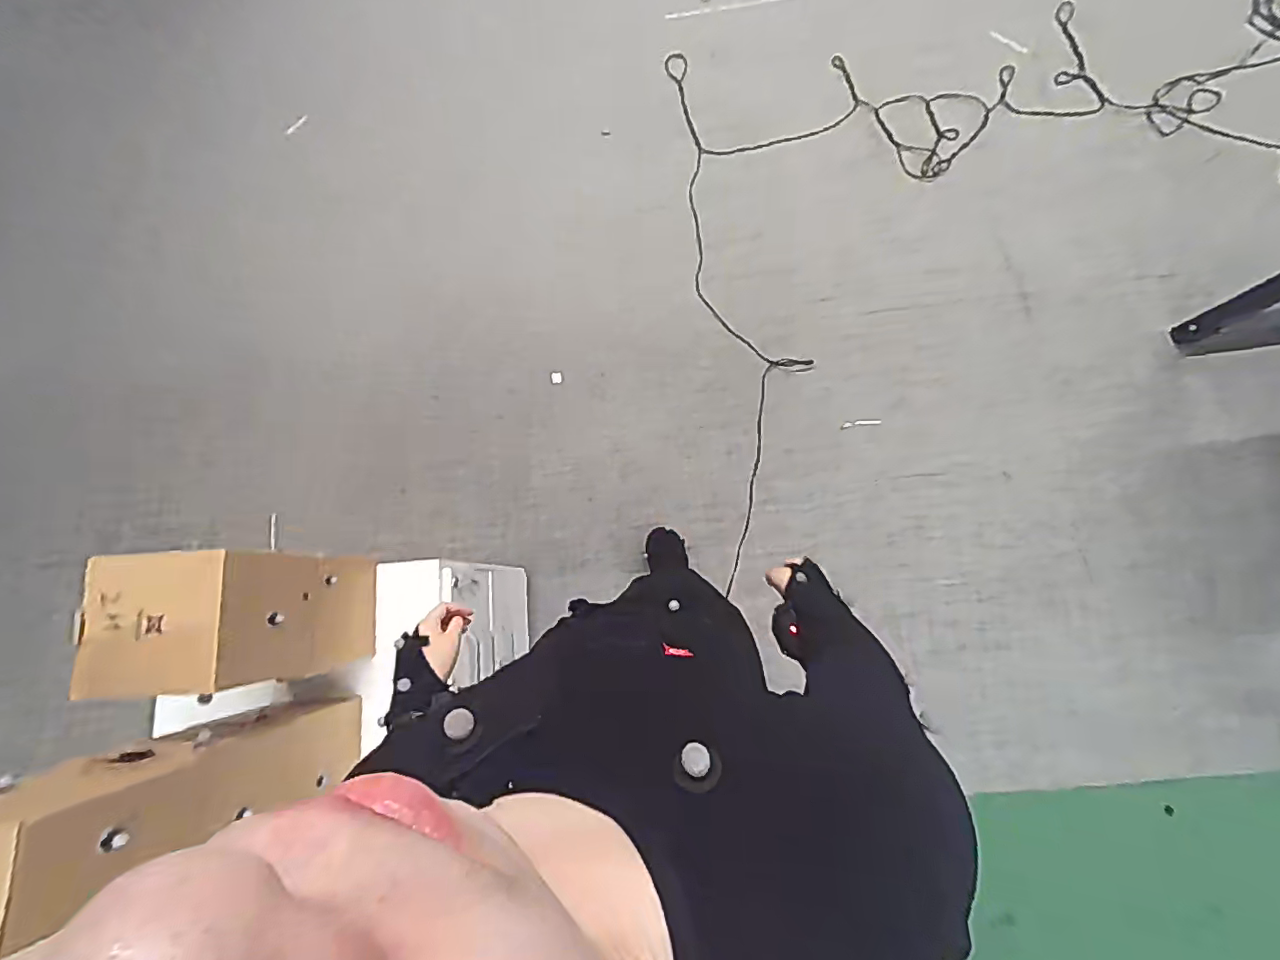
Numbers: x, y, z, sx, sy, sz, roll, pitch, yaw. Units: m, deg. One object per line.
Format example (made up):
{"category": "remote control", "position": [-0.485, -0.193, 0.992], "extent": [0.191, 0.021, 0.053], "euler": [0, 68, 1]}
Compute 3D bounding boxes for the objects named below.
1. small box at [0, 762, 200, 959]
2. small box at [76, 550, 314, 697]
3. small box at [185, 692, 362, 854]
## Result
{"category": "small box", "position": [-0.563, 0.380, 0.509], "extent": [0.168, 0.176, 0.179], "euler": [-5, 79, 4]}
{"category": "small box", "position": [-0.564, 0.180, 0.711], "extent": [0.179, 0.176, 0.168], "euler": [-4, 79, 4]}
{"category": "small box", "position": [-0.552, 0.438, 0.832], "extent": [0.168, 0.176, 0.179], "euler": [-6, 78, 2]}
